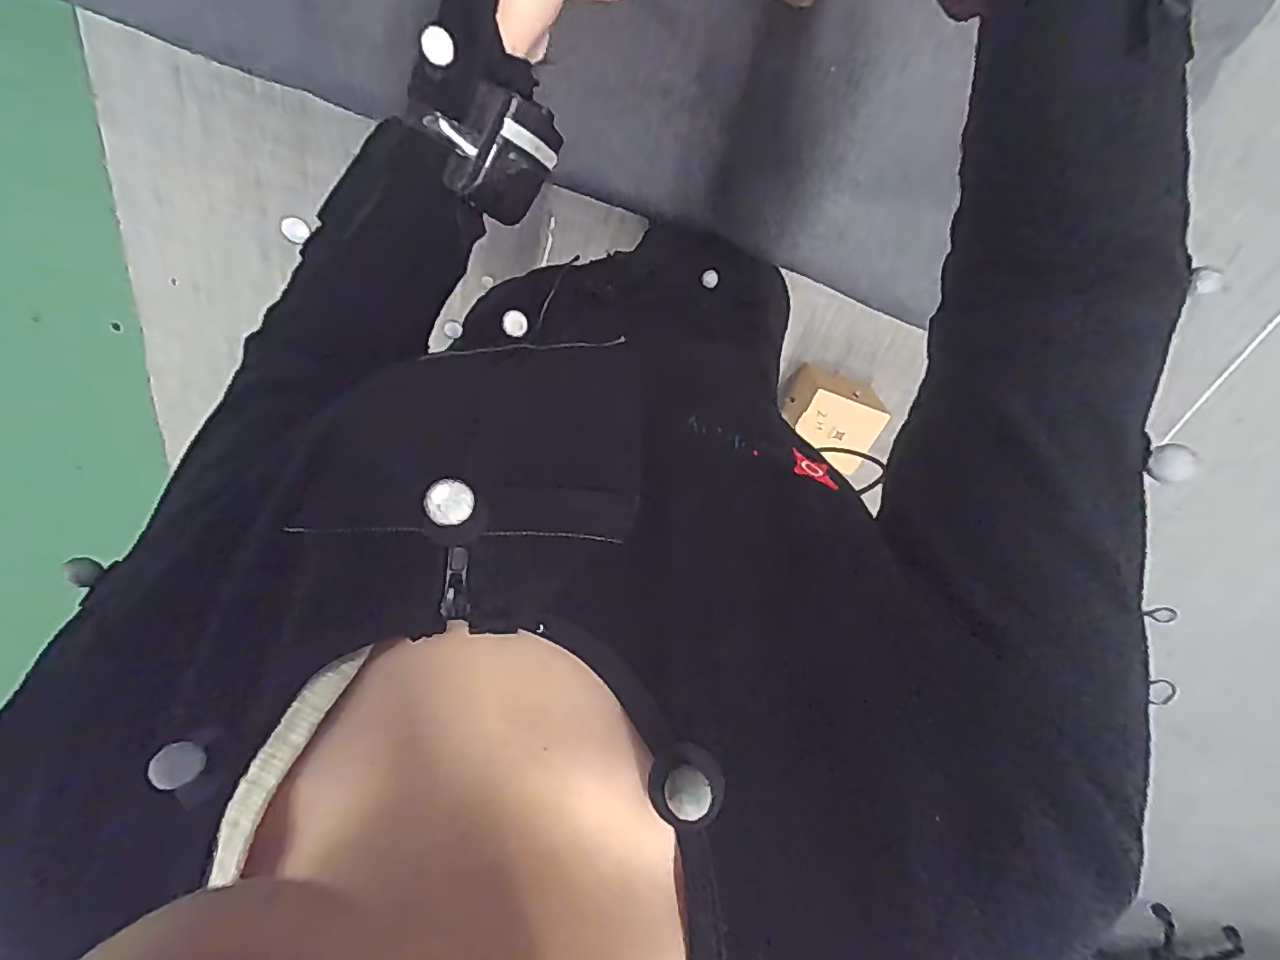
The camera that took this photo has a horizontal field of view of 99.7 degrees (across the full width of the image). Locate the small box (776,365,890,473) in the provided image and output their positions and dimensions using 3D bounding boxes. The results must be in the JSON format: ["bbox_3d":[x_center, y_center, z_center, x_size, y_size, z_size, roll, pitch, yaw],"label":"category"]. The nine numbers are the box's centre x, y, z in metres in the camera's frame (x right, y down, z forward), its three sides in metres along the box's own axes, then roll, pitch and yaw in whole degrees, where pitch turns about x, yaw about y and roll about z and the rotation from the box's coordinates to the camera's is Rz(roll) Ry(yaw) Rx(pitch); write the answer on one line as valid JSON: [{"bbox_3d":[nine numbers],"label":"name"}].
[{"bbox_3d":[0.437,-0.147,1.258,0.179,0.176,0.168,19,120,-5],"label":"small box"}]
